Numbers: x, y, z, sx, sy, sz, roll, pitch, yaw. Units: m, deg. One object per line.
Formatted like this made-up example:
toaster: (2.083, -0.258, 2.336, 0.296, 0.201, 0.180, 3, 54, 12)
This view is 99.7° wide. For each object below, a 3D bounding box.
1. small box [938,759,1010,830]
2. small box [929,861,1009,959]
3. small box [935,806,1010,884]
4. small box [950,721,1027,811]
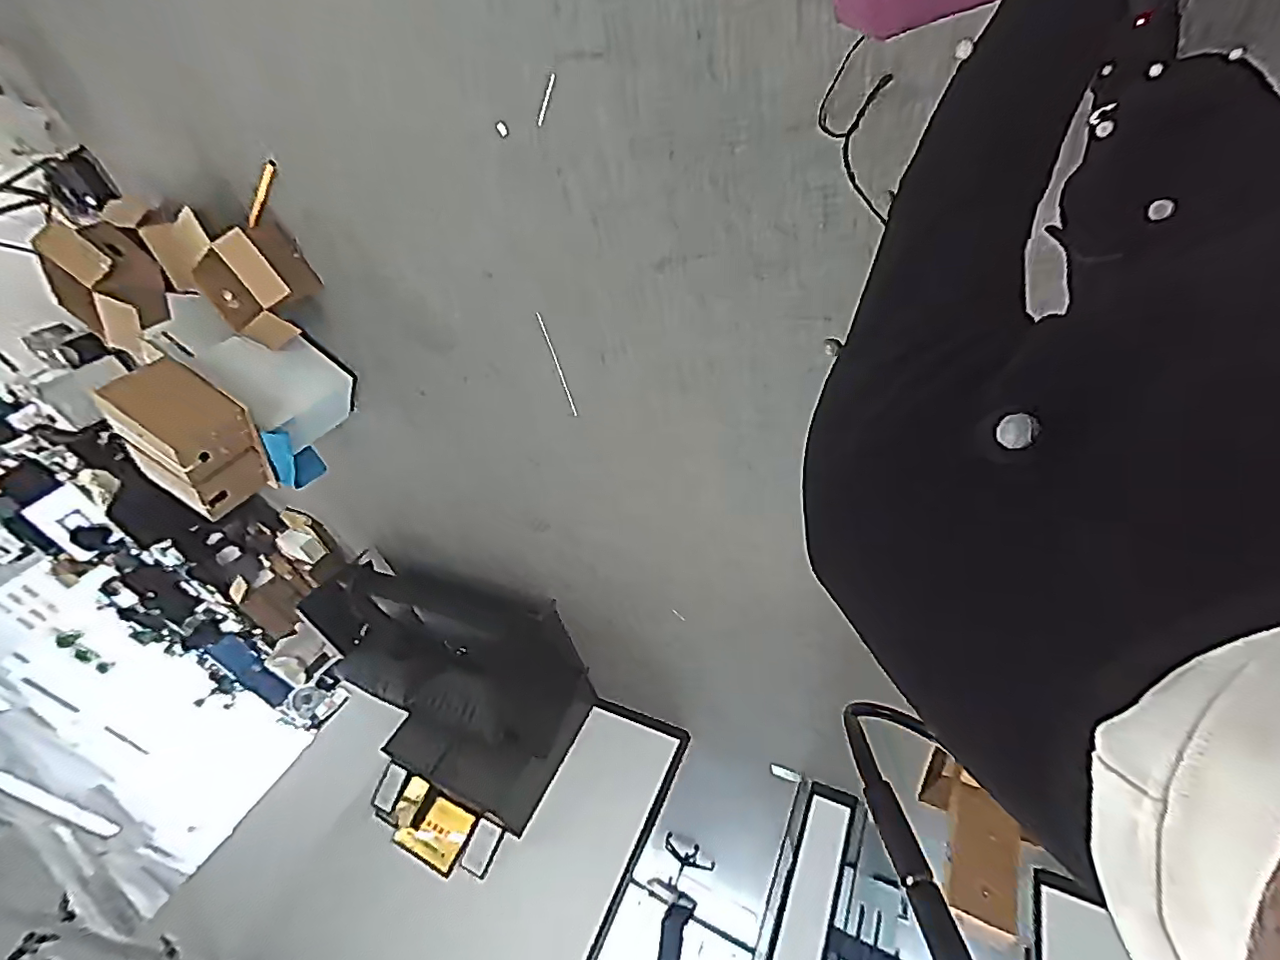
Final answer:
small box: (1.144, 1.093, 1.852, 0.179, 0.176, 0.168, 13, 134, 25)
small box: (0.996, 1.295, 1.640, 0.179, 0.176, 0.168, 10, 132, 25)
small box: (1.070, 1.195, 1.748, 0.179, 0.176, 0.168, 11, 132, 25)
small box: (1.085, 0.883, 1.686, 0.179, 0.176, 0.168, 9, 134, 28)
